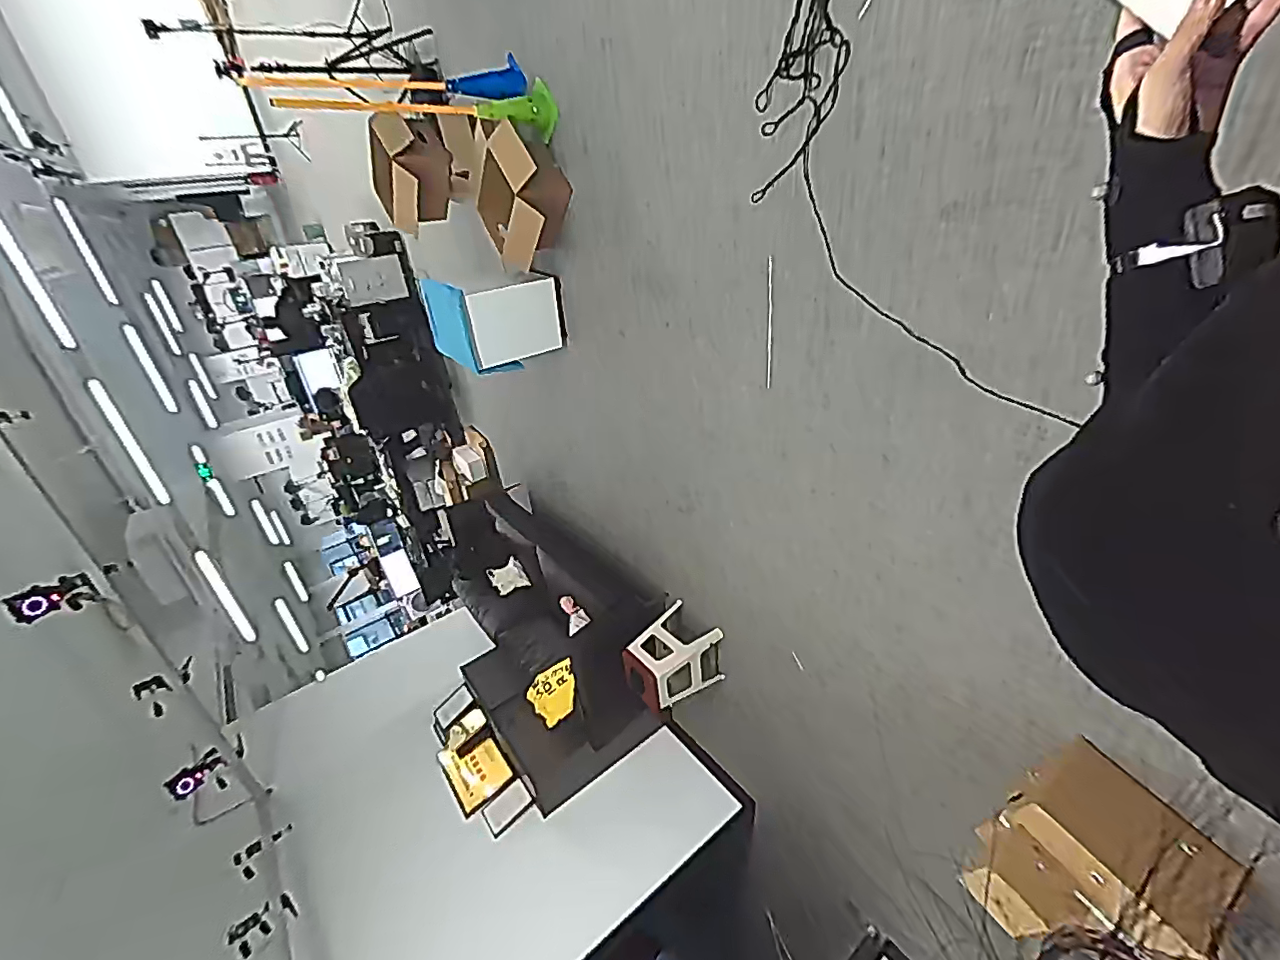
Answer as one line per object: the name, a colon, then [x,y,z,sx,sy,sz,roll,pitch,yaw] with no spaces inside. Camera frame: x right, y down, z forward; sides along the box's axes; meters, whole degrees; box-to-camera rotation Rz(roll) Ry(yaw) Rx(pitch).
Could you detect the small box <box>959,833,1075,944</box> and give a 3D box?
small box: [1.018,1.101,1.461,0.168,0.176,0.179,45,146,32]
